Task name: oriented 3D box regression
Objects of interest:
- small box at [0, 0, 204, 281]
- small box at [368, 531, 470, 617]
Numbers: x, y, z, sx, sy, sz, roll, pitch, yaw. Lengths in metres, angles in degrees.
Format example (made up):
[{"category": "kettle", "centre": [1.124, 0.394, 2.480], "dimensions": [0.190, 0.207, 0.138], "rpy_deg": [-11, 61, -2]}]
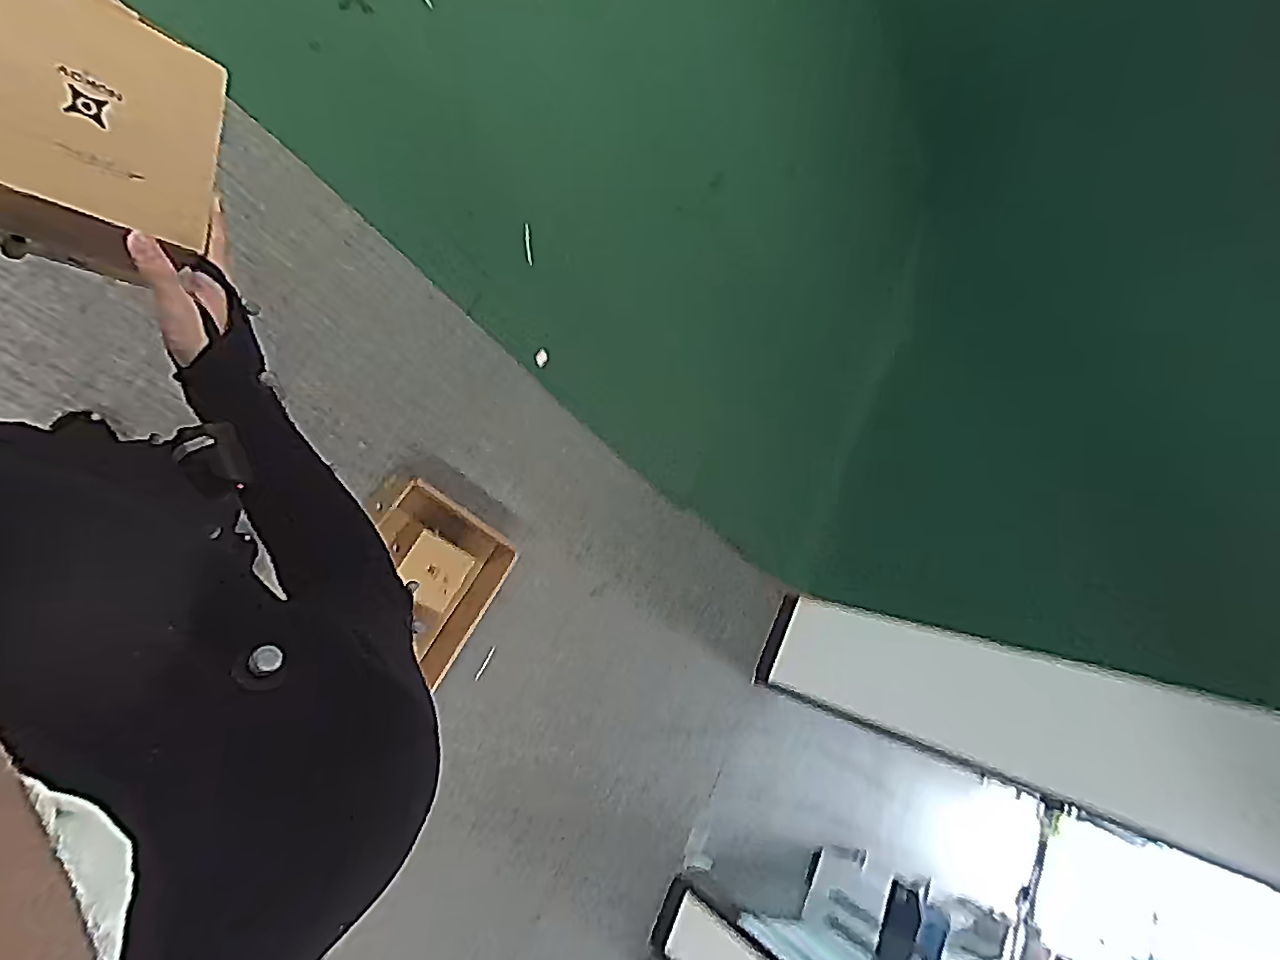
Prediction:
[{"category": "small box", "centre": [-0.494, -0.290, 0.445], "dimensions": [0.168, 0.176, 0.179], "rpy_deg": [8, 85, -53]}, {"category": "small box", "centre": [-0.613, 0.253, 1.491], "dimensions": [0.179, 0.176, 0.168], "rpy_deg": [43, 67, -34]}]
